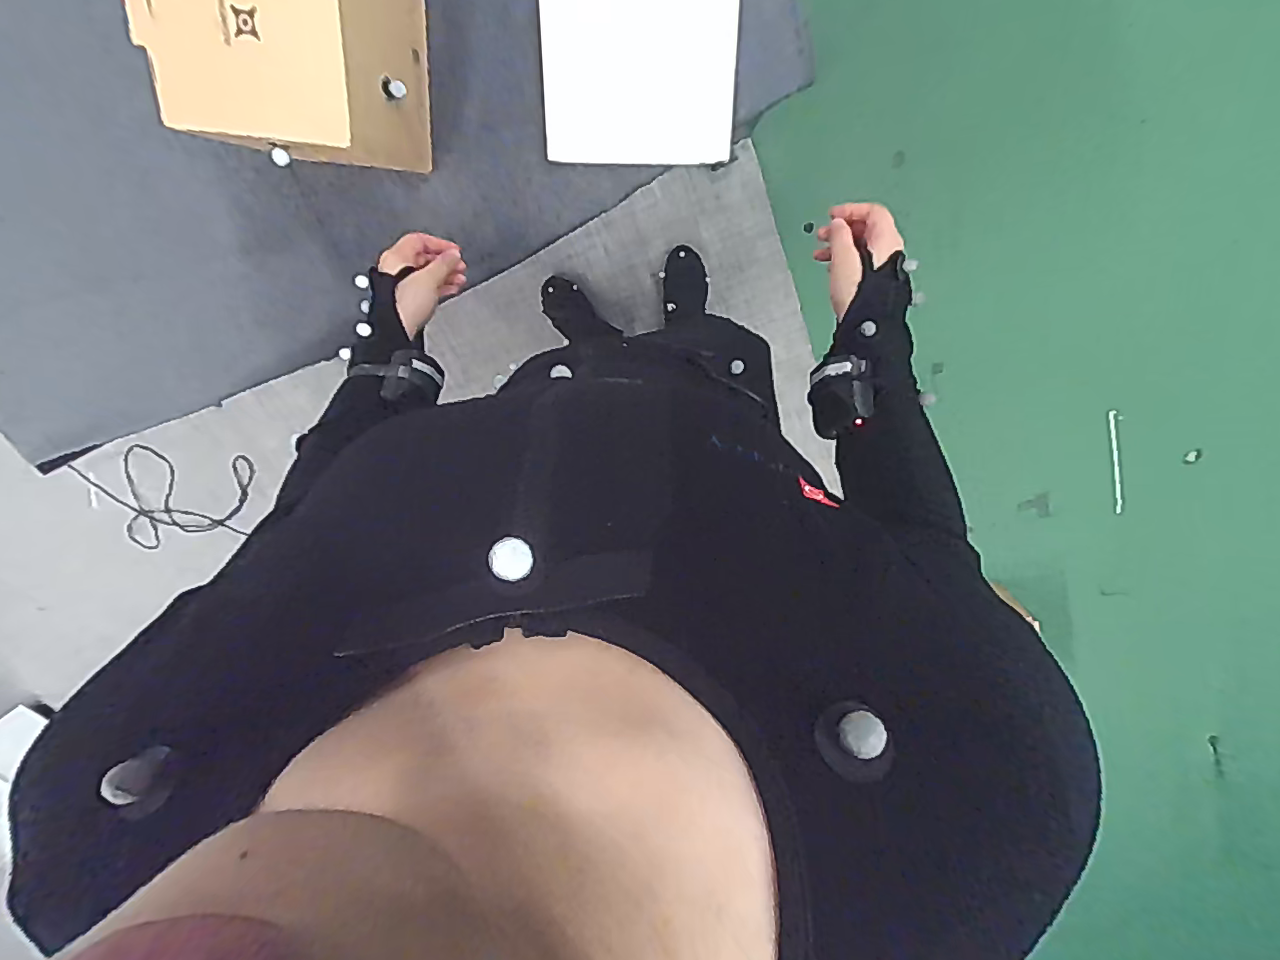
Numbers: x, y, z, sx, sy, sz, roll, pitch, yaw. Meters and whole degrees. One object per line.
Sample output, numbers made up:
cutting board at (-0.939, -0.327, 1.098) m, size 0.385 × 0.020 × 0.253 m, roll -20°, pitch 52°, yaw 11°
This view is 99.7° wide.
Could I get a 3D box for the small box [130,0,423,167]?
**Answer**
small box at (-0.320, -0.404, 0.511) m, size 0.179 × 0.176 × 0.168 m, roll 7°, pitch 114°, yaw 2°
